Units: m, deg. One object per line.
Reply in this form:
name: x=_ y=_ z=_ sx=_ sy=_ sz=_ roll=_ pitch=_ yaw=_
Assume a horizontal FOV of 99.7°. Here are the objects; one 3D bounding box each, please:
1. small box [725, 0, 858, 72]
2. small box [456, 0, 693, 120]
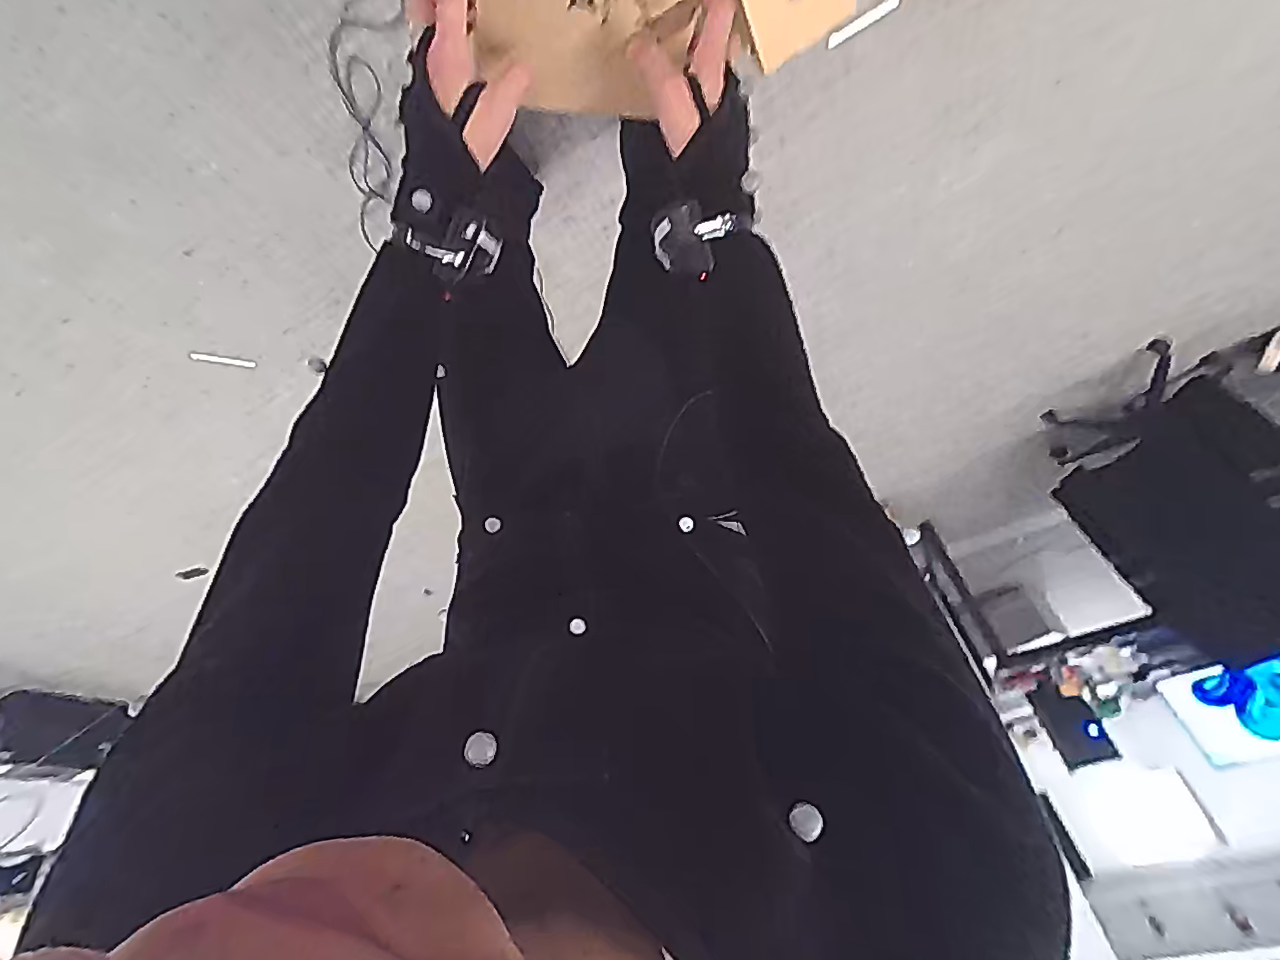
small box: x=0.229 y=-0.829 z=0.884 sx=0.168 sy=0.176 sz=0.179 roll=-26 pitch=141 yaw=18
small box: x=-0.060 y=-0.432 z=0.439 sx=0.179 sy=0.176 sz=0.168 roll=-6 pitch=152 yaw=-17
